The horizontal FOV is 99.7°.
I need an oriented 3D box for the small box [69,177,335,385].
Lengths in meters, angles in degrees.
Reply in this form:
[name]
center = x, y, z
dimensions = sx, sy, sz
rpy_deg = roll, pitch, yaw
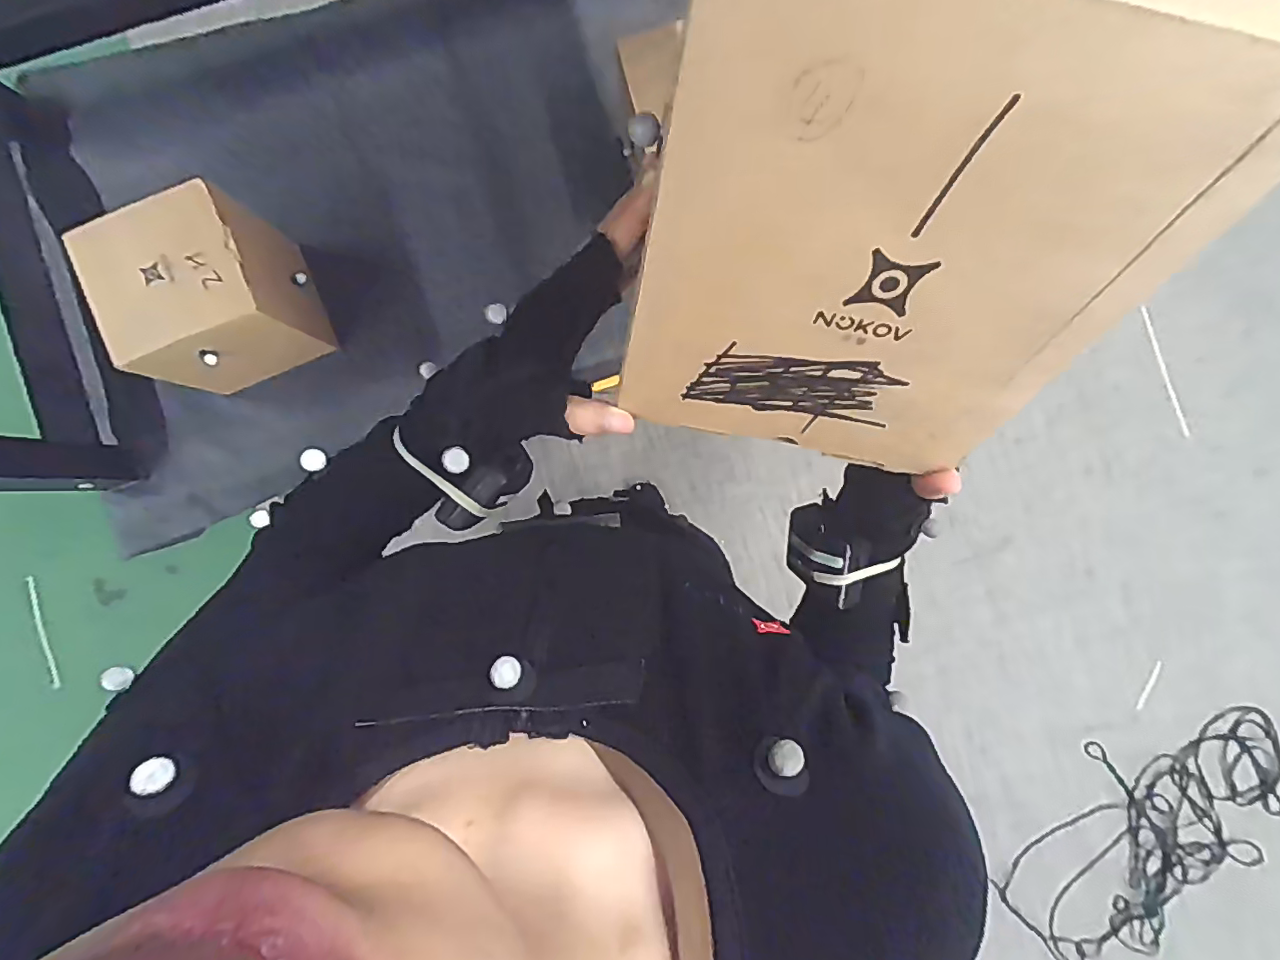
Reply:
[small box]
center = -0.538, -0.236, 0.691
dimensions = 0.179, 0.176, 0.168
rpy_deg = -22, 90, -1
